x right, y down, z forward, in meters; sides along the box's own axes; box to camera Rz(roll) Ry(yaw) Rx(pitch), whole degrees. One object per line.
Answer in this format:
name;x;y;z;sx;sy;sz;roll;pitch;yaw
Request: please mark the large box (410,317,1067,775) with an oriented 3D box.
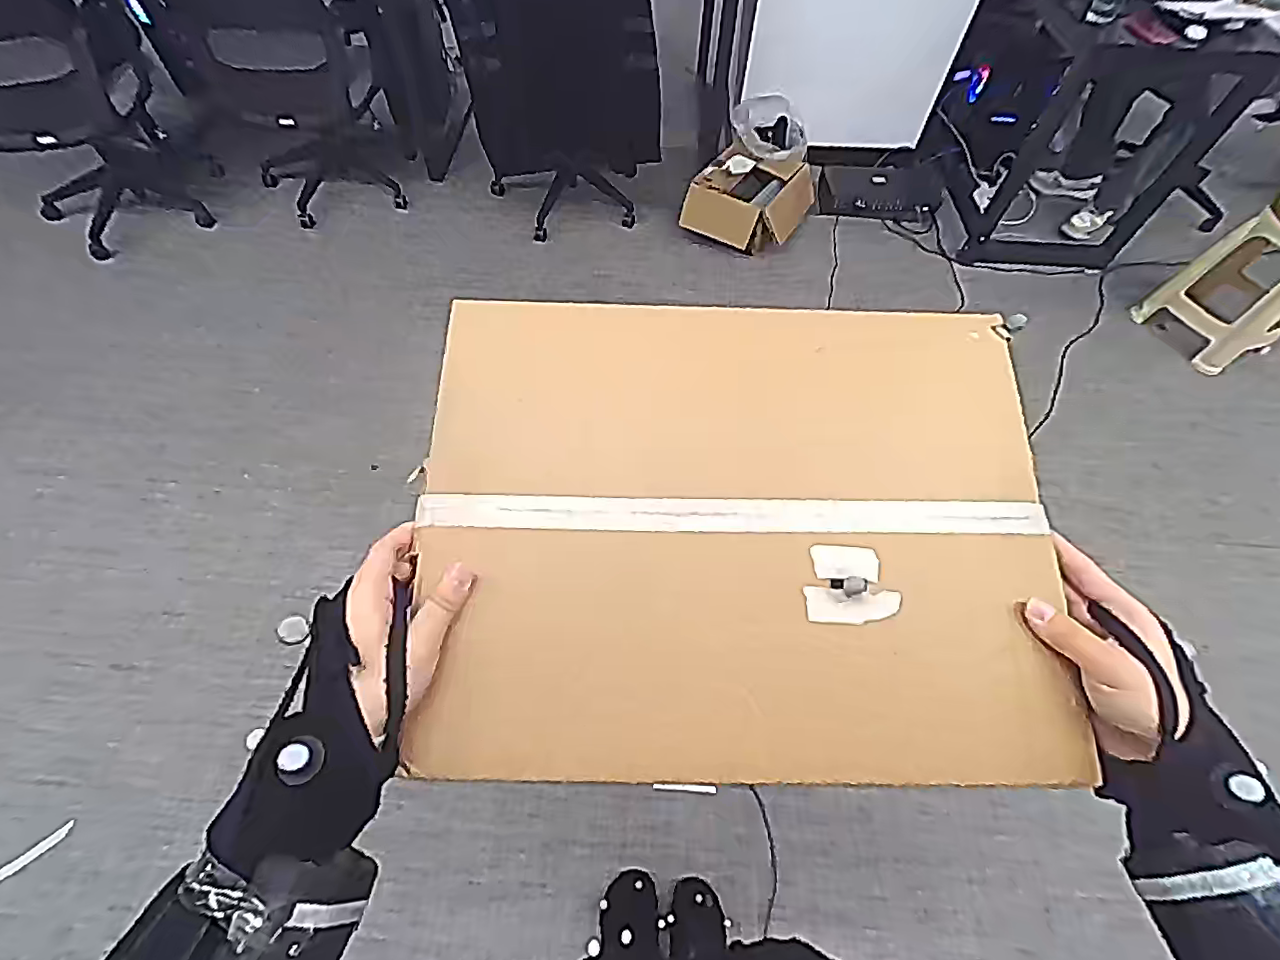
large box;0.055;0.070;0.506;0.408;0.320;0.320;1;73;-2
